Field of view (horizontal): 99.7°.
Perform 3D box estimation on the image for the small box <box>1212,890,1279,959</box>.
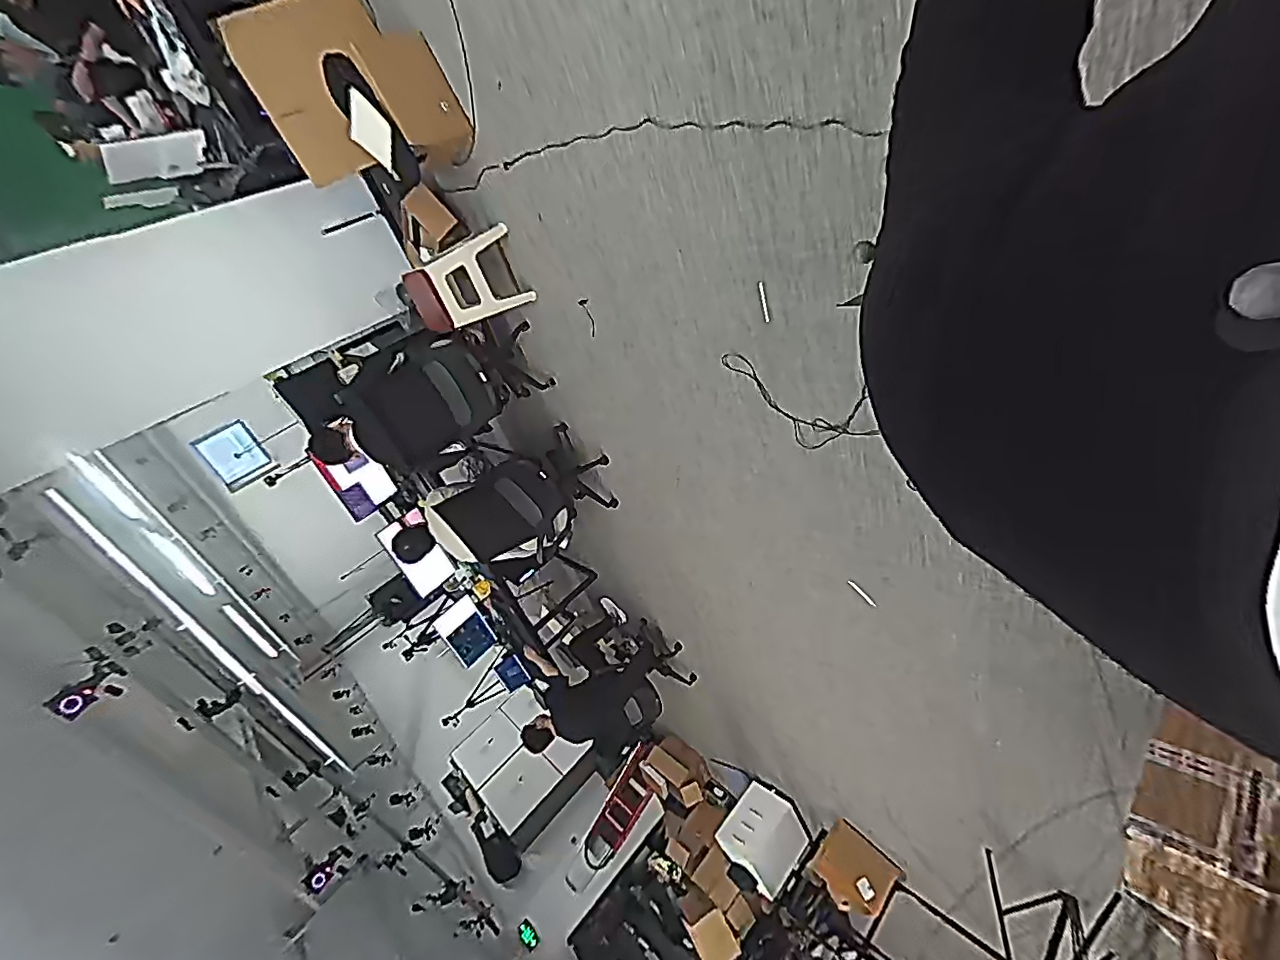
[{"bbox_3d":[1.407,1.079,1.203,0.168,0.176,0.179,10,128,48],"label":"small box"}]
